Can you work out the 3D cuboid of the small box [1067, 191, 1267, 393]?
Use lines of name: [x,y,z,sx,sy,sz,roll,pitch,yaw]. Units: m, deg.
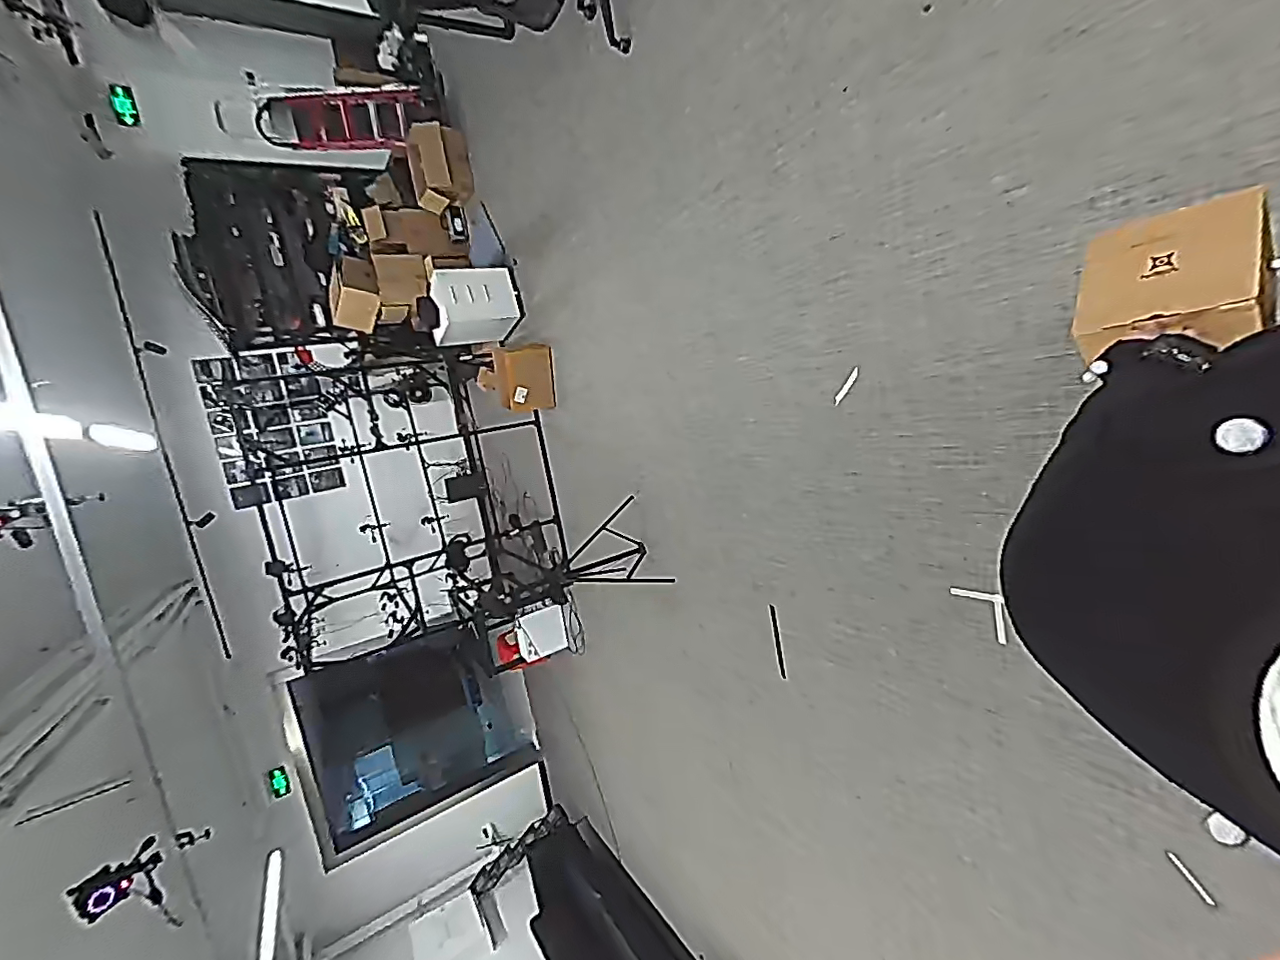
small box: [0.708,-0.231,0.724,0.168,0.176,0.179,-1,61,53]
